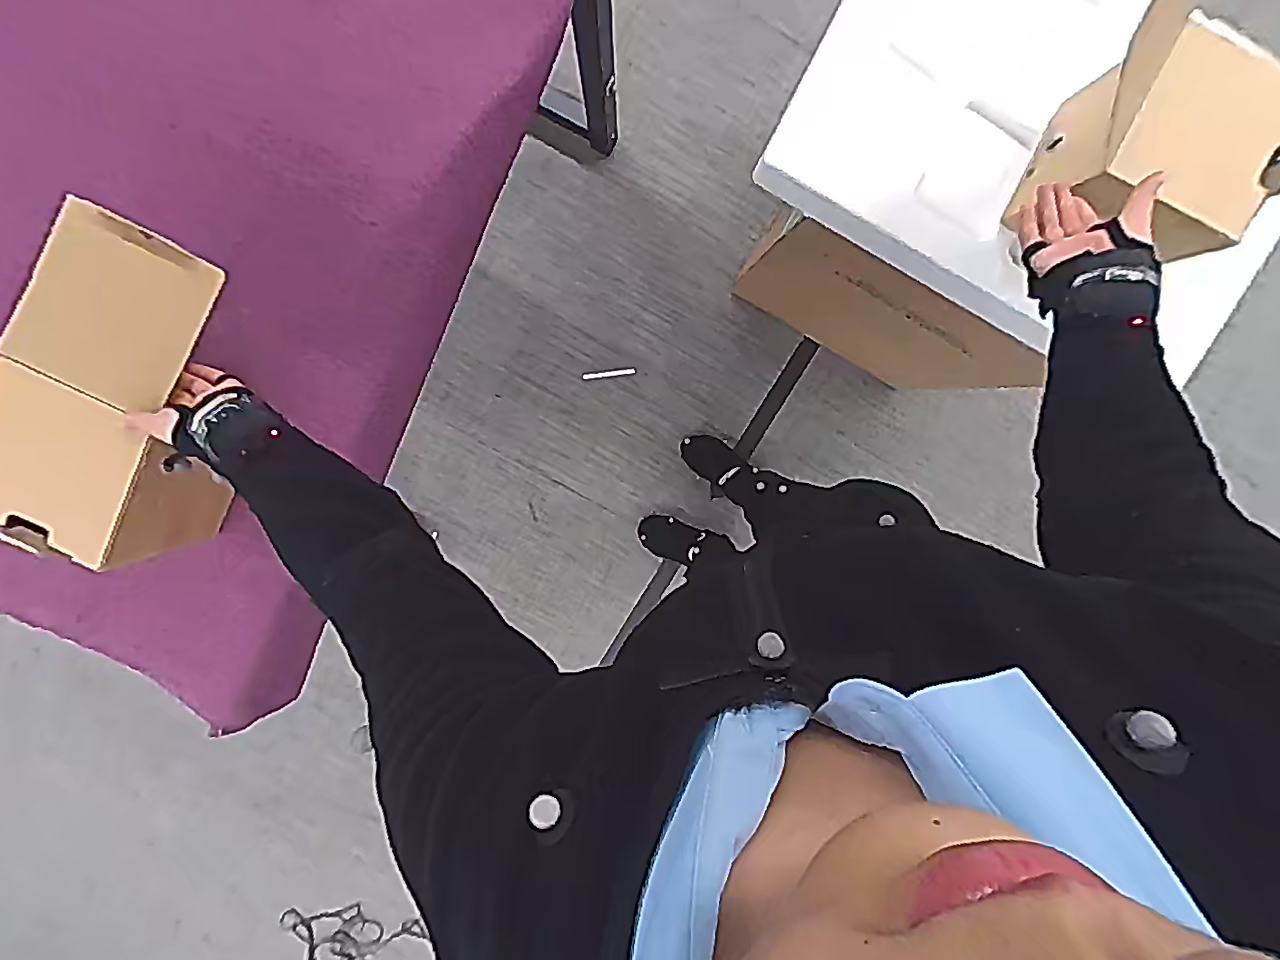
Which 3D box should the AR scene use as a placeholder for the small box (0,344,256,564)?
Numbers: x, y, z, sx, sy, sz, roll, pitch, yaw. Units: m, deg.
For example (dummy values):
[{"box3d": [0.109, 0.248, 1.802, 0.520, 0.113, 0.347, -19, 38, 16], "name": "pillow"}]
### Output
[{"box3d": [-0.598, -0.035, 0.629, 0.168, 0.176, 0.179, 27, 97, -4], "name": "small box"}]
